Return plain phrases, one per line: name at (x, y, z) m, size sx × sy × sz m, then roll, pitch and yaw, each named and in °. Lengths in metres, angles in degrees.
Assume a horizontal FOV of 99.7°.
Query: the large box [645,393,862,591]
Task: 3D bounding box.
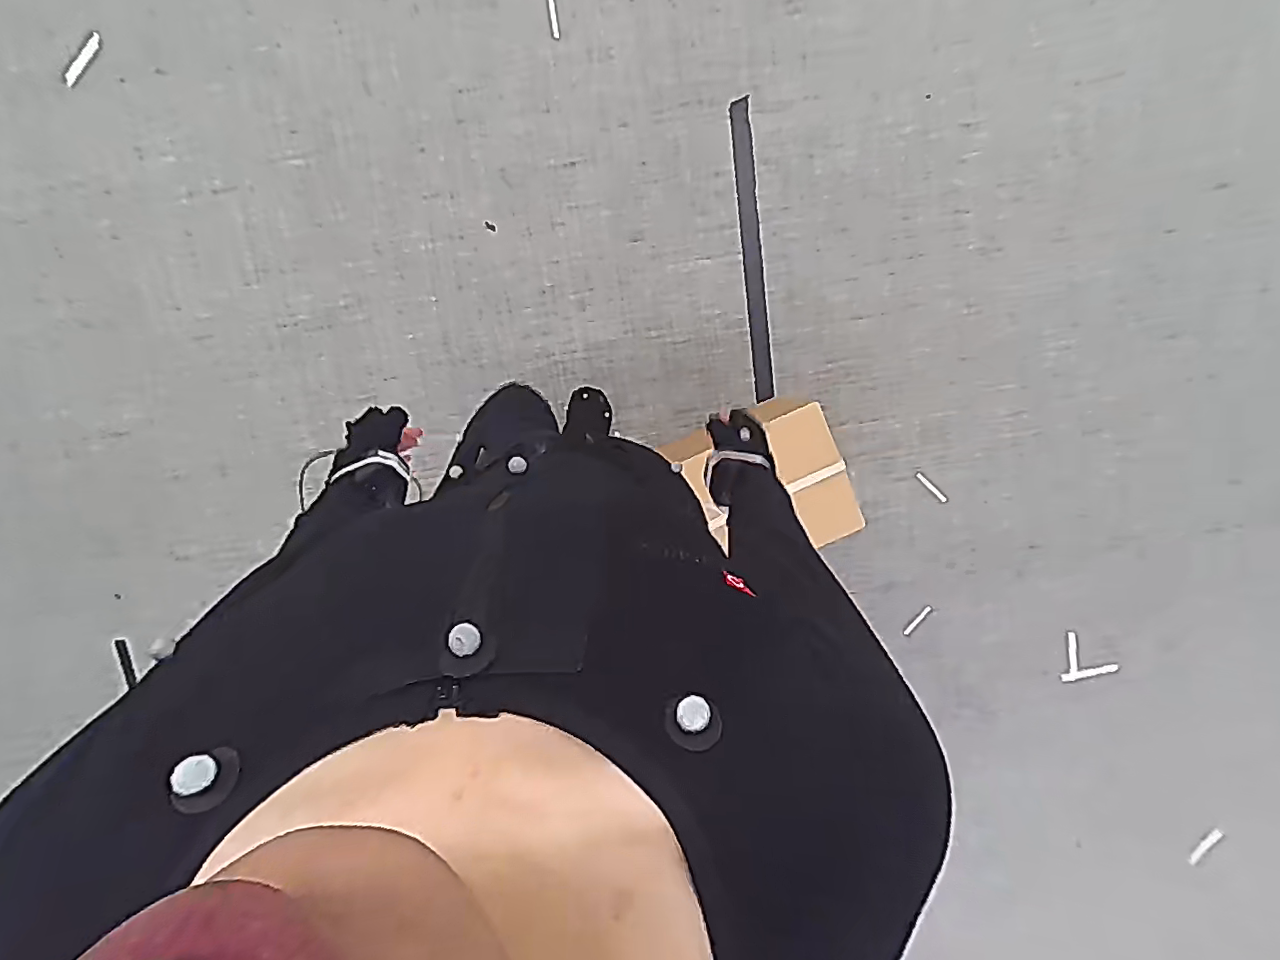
large box at (0.259, 0.009, 1.351) m, size 0.408 × 0.320 × 0.320 m, roll -25°, pitch 100°, yaw 3°
